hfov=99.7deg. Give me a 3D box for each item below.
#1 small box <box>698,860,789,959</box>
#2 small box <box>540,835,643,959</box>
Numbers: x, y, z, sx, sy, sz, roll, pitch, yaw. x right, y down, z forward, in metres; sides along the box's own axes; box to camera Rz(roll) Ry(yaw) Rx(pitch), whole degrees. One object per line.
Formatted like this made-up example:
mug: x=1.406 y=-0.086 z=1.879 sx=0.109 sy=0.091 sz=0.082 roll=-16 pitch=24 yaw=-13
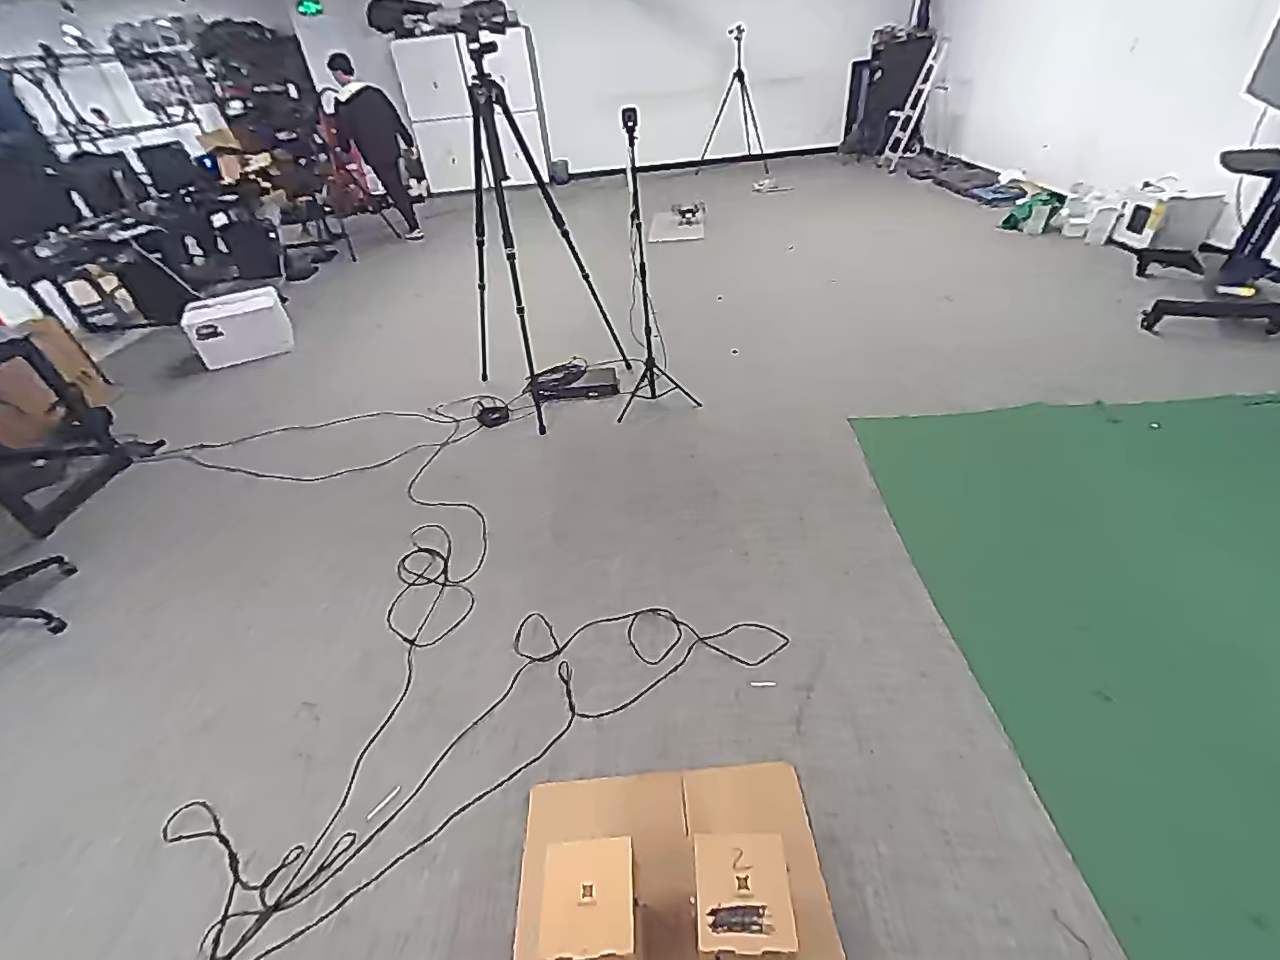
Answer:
small box: x=0.204 y=0.908 z=1.106 sx=0.168 sy=0.176 sz=0.179 roll=-4 pitch=39 yaw=5
small box: x=-0.084 y=0.801 z=1.016 sx=0.168 sy=0.176 sz=0.179 roll=-6 pitch=38 yaw=1
